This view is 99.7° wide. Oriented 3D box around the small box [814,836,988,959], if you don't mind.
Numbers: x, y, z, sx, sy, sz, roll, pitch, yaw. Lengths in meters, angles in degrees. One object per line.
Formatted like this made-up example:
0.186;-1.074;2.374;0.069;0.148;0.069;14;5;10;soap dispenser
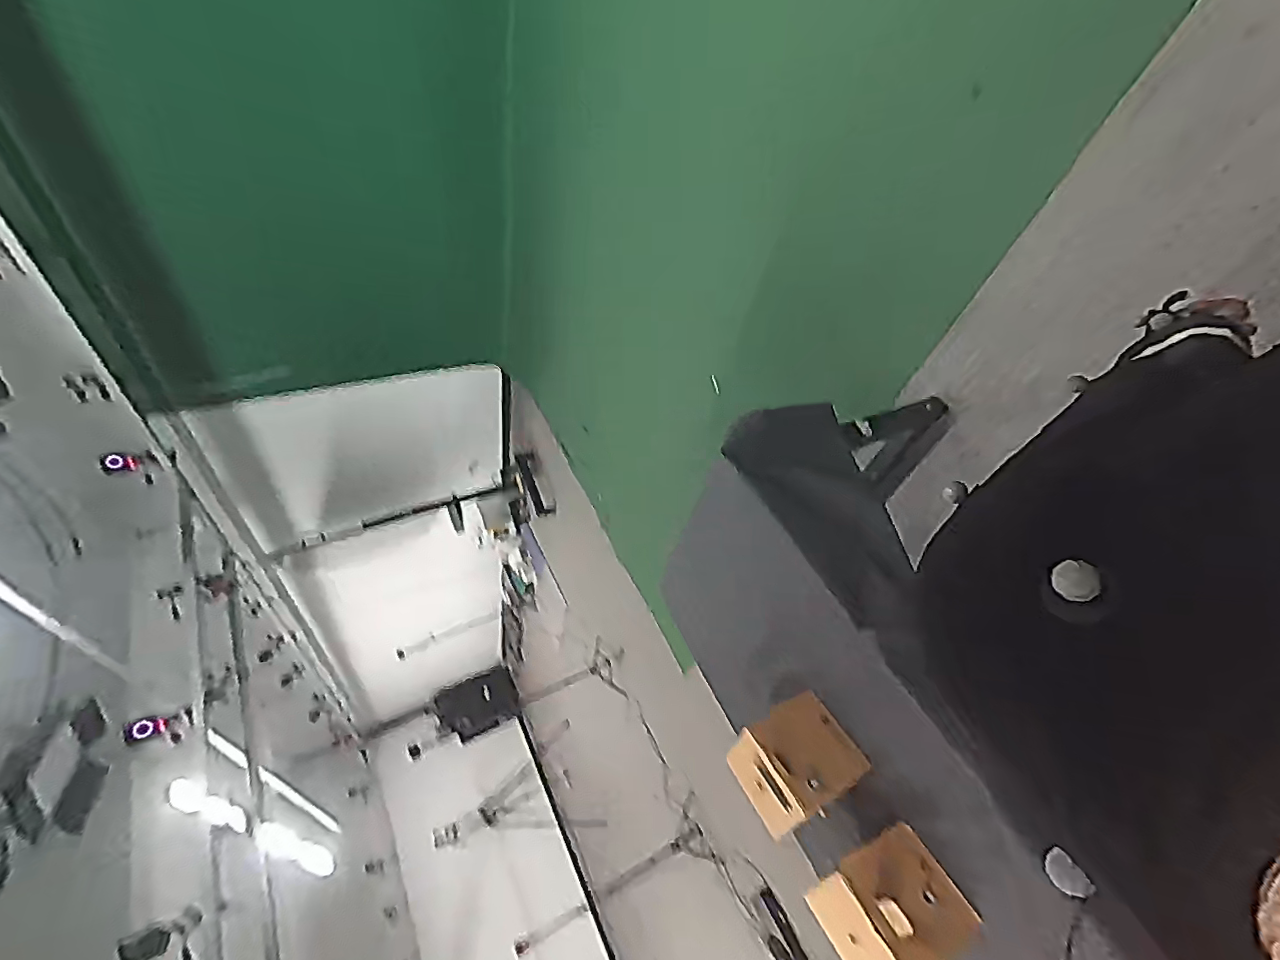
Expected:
0.432;0.742;0.906;0.168;0.176;0.179;52;146;37;small box
